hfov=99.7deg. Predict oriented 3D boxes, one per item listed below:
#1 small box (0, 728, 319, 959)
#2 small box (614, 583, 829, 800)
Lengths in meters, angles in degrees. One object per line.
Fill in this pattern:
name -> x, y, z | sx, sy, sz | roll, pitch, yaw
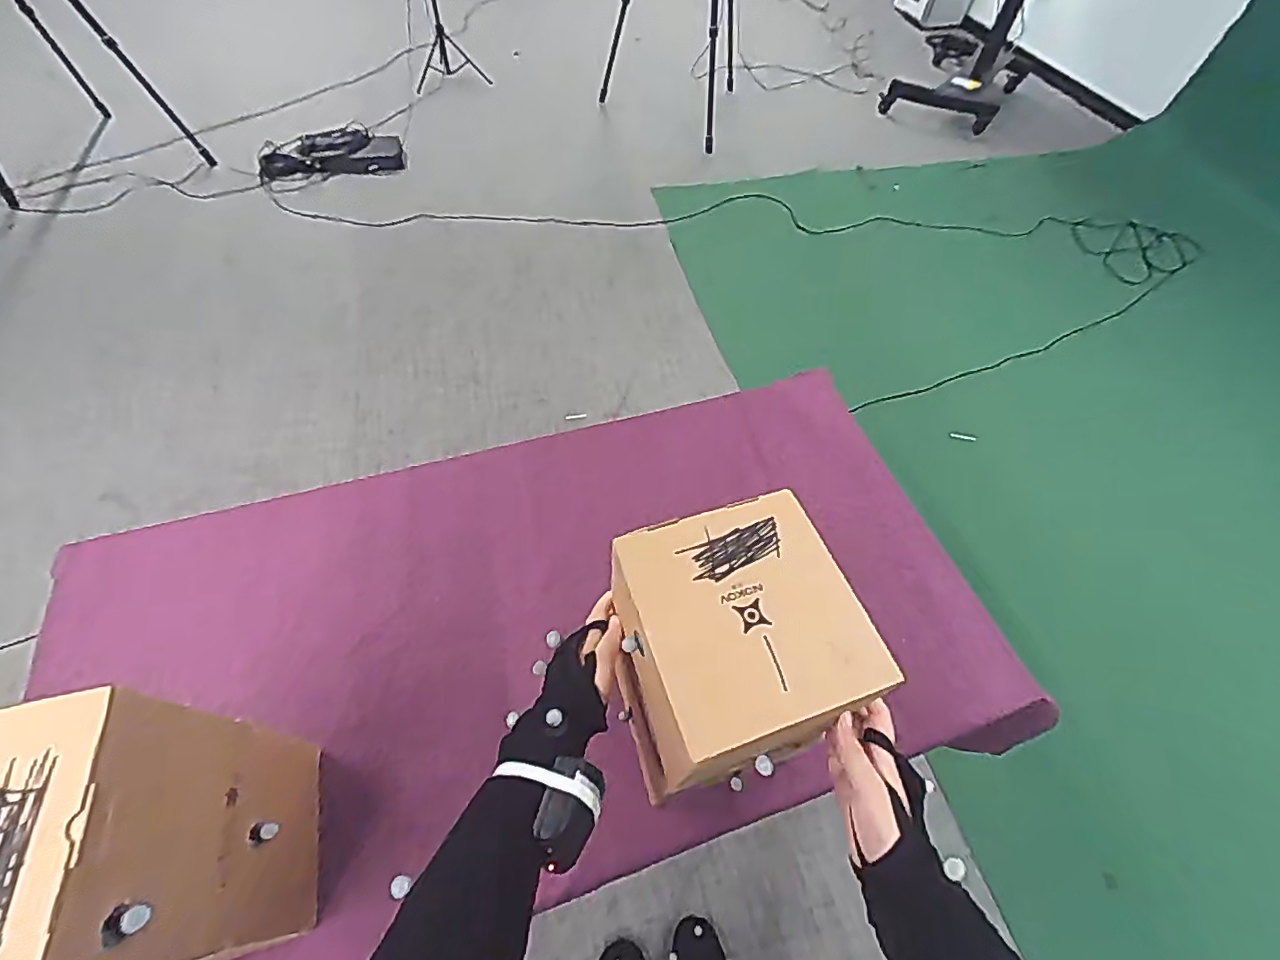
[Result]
small box -> -0.423, 0.359, 0.505 | 0.168, 0.176, 0.179 | -13, 59, -12
small box -> 0.075, 0.242, 0.608 | 0.179, 0.176, 0.168 | -13, 58, -11
